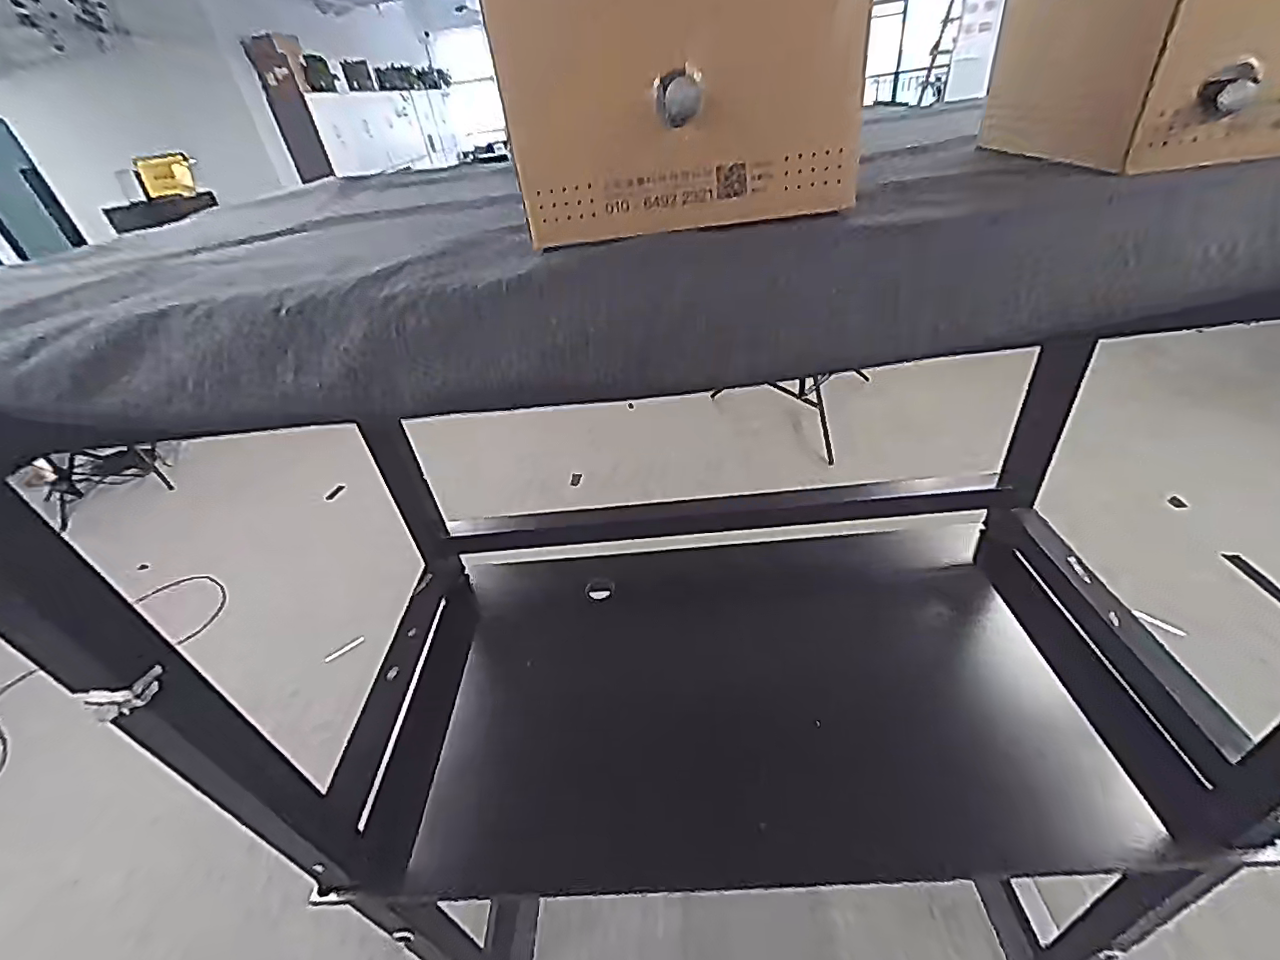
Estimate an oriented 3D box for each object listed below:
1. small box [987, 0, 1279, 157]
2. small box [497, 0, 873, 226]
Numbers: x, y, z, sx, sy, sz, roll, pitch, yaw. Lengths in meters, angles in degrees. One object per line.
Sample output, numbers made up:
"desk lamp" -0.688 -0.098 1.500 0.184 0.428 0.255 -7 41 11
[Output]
"small box" 0.317 -0.276 0.280 0.168 0.176 0.179 -3 34 8
"small box" 0.018 -0.247 0.299 0.168 0.176 0.179 -6 34 5
